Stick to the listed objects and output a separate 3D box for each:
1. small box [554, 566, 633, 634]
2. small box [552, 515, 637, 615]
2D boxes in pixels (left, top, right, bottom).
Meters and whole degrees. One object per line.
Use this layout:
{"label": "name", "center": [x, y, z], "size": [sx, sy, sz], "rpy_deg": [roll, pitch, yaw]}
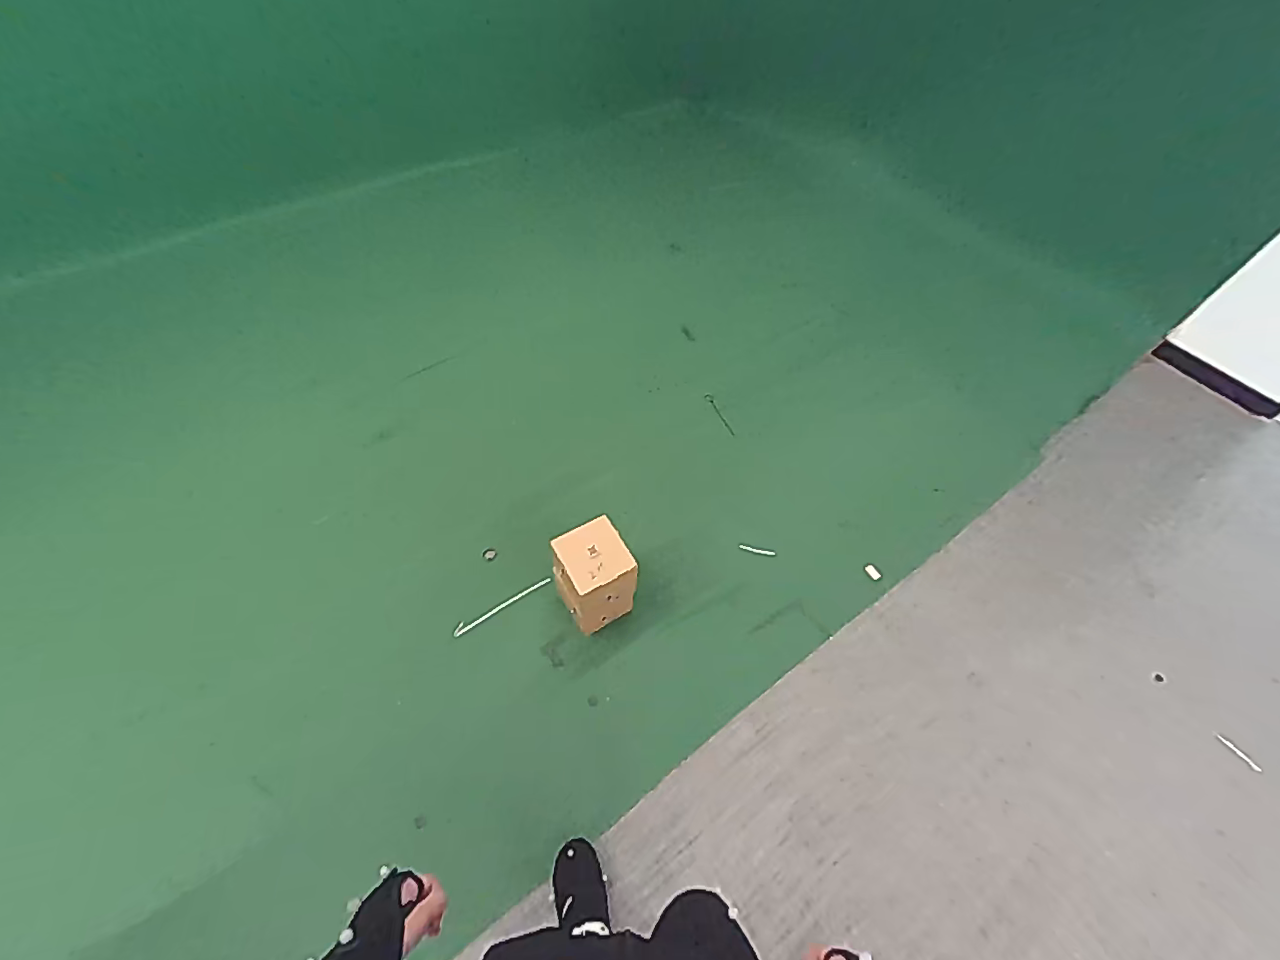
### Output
{"label": "small box", "center": [-0.136, 0.319, 1.584], "size": [0.168, 0.176, 0.179], "rpy_deg": [-27, 63, -19]}
{"label": "small box", "center": [-0.123, 0.231, 1.445], "size": [0.168, 0.176, 0.179], "rpy_deg": [-26, 63, -18]}
